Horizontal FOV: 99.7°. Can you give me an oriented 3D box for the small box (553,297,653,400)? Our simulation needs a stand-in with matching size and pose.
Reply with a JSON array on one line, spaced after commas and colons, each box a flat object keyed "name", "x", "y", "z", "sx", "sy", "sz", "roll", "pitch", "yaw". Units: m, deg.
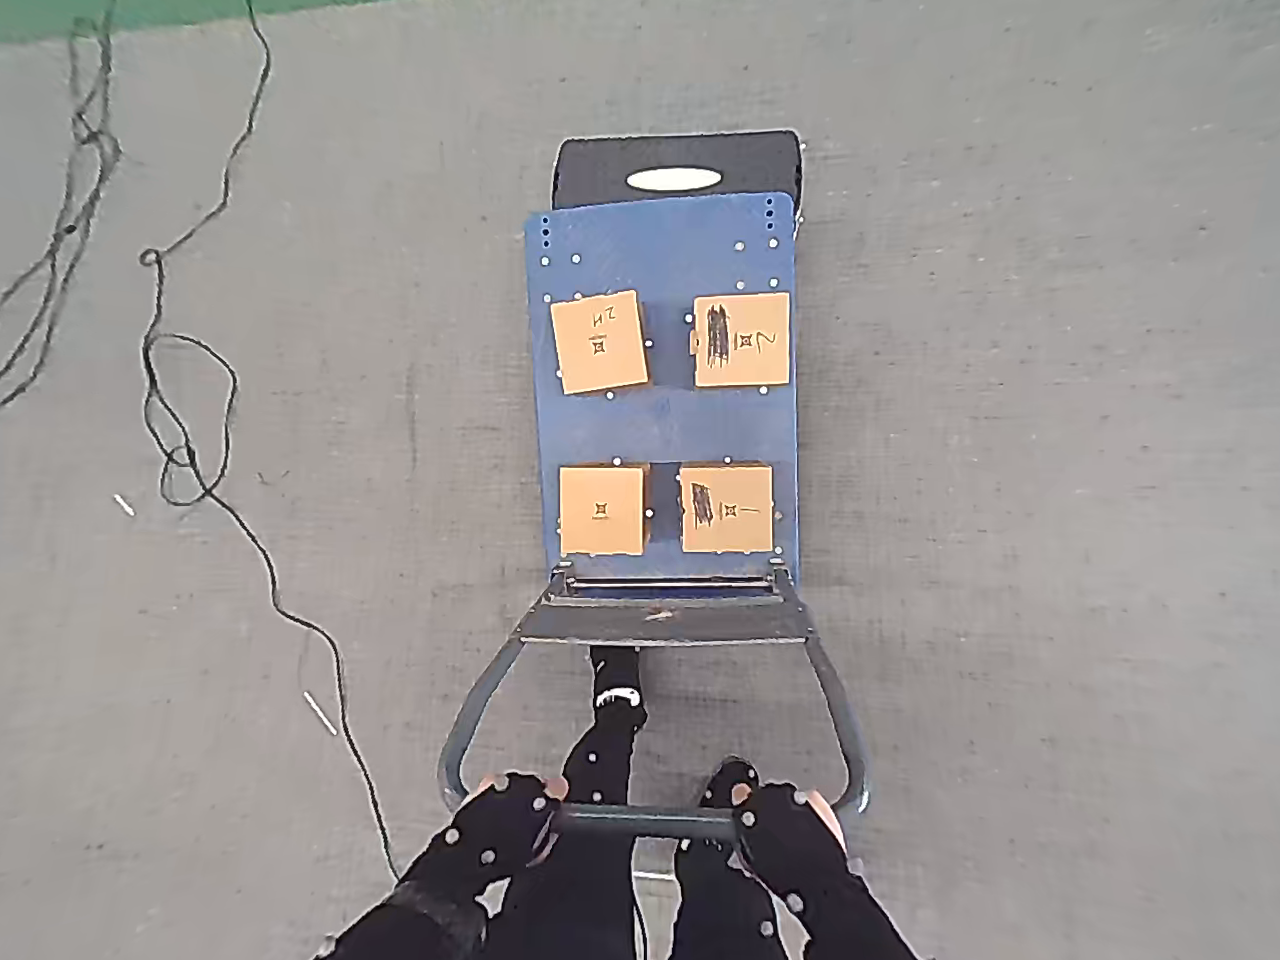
[{"name": "small box", "x": -0.067, "y": -0.258, "z": 1.107, "sx": 0.168, "sy": 0.176, "sz": 0.179, "roll": -7, "pitch": 95, "yaw": 6}]

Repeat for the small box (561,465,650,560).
[{"name": "small box", "x": -0.068, "y": 0.061, "z": 1.141, "sx": 0.168, "sy": 0.176, "sz": 0.179, "roll": 1, "pitch": 97, "yaw": 5}]
